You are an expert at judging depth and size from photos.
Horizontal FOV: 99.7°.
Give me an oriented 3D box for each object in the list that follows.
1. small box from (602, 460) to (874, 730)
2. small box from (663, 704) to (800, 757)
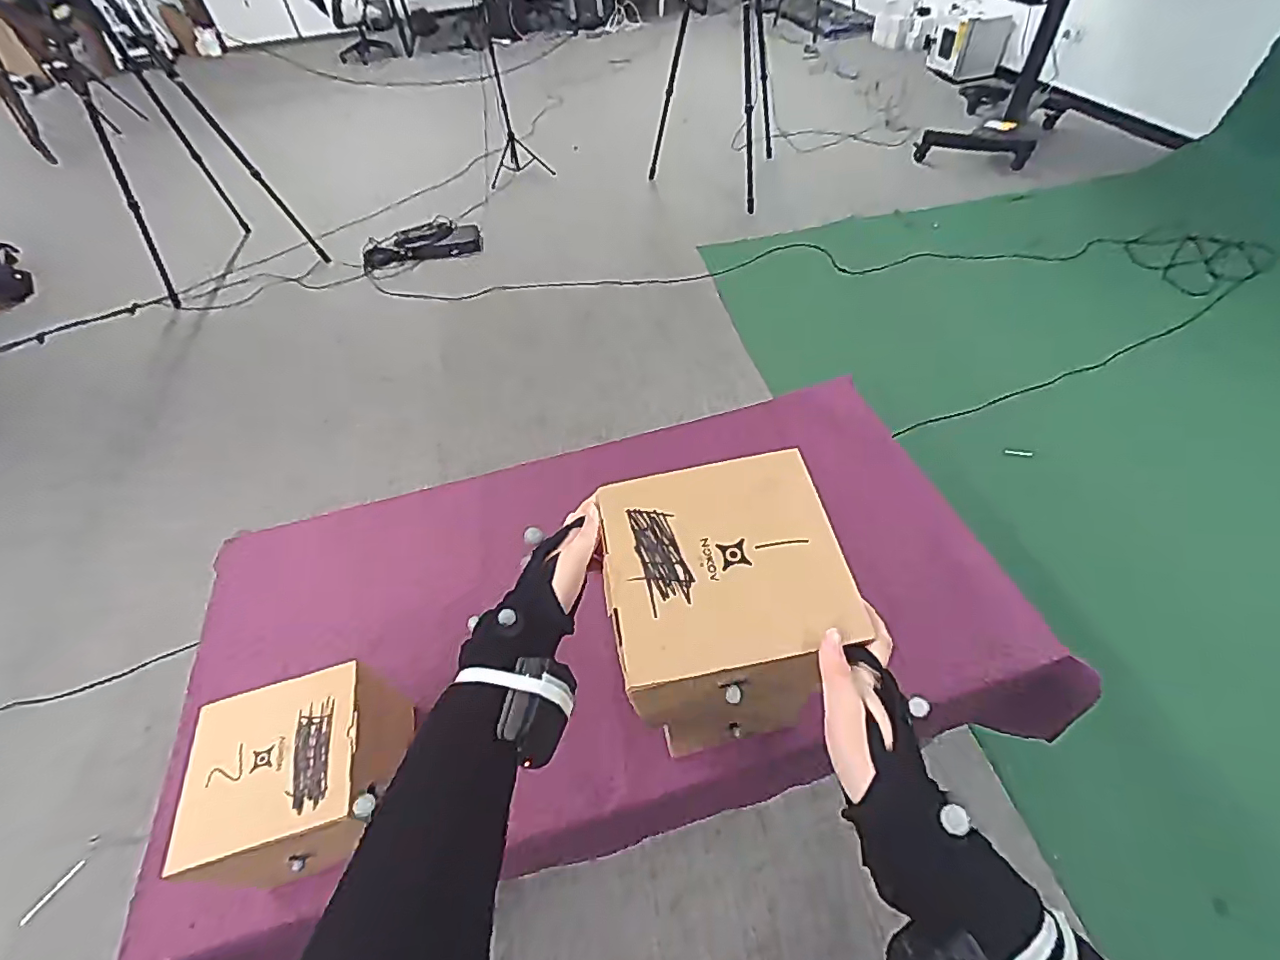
[{"bbox_3d":[0.072,0.108,0.477,0.179,0.176,0.168,-10,56,-2],"label":"small box"},{"bbox_3d":[0.096,0.232,0.684,0.168,0.176,0.179,-12,50,-5],"label":"small box"}]
